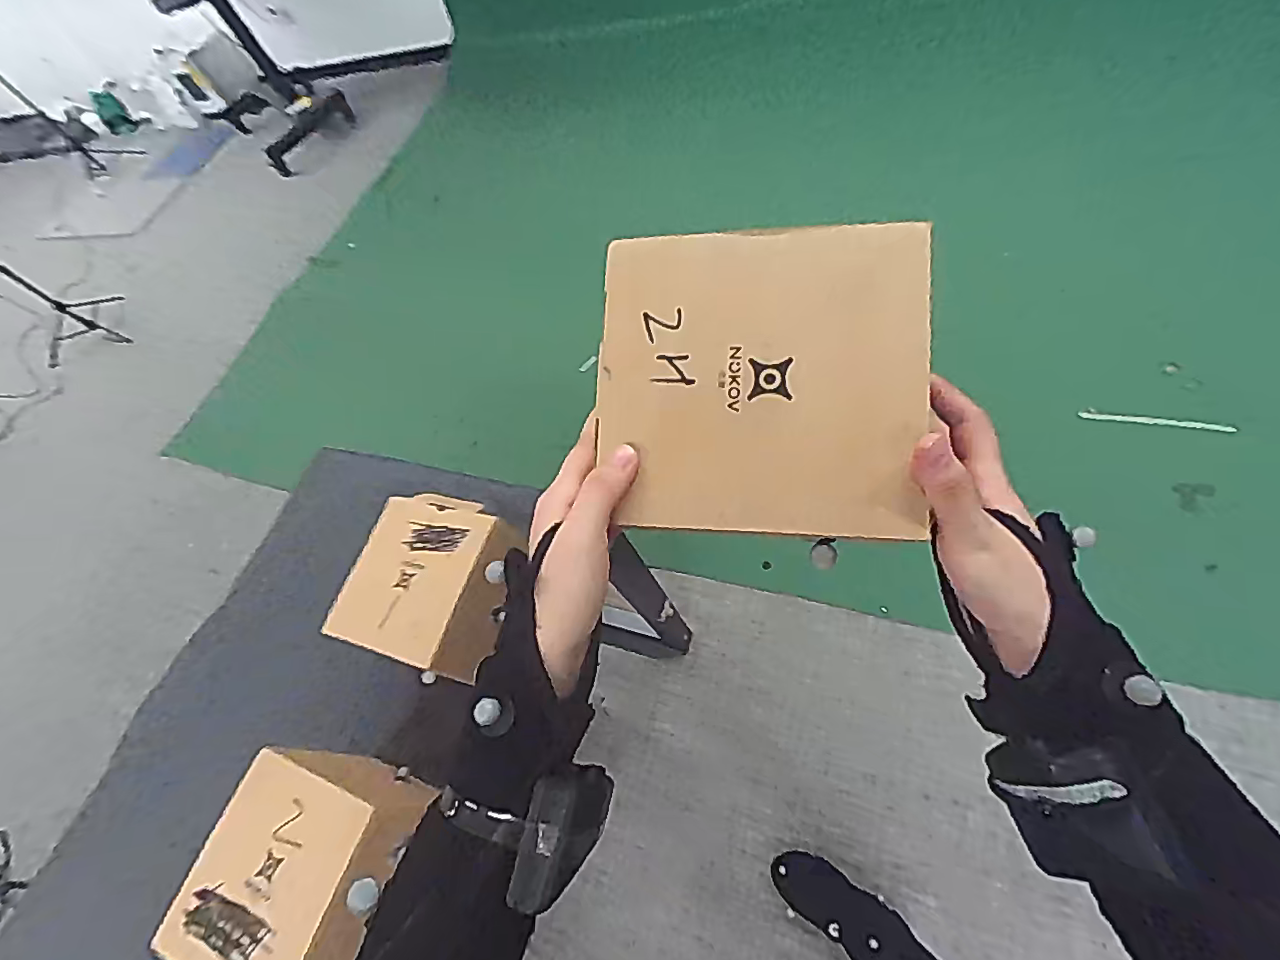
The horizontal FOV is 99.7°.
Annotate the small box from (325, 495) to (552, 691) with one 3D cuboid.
[{"bbox_3d":[-0.231,0.143,0.672,0.168,0.176,0.179,9,66,24],"label":"small box"}]

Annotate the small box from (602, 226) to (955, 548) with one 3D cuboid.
[{"bbox_3d":[0.086,-0.045,0.363,0.179,0.176,0.168,3,84,13],"label":"small box"}]
